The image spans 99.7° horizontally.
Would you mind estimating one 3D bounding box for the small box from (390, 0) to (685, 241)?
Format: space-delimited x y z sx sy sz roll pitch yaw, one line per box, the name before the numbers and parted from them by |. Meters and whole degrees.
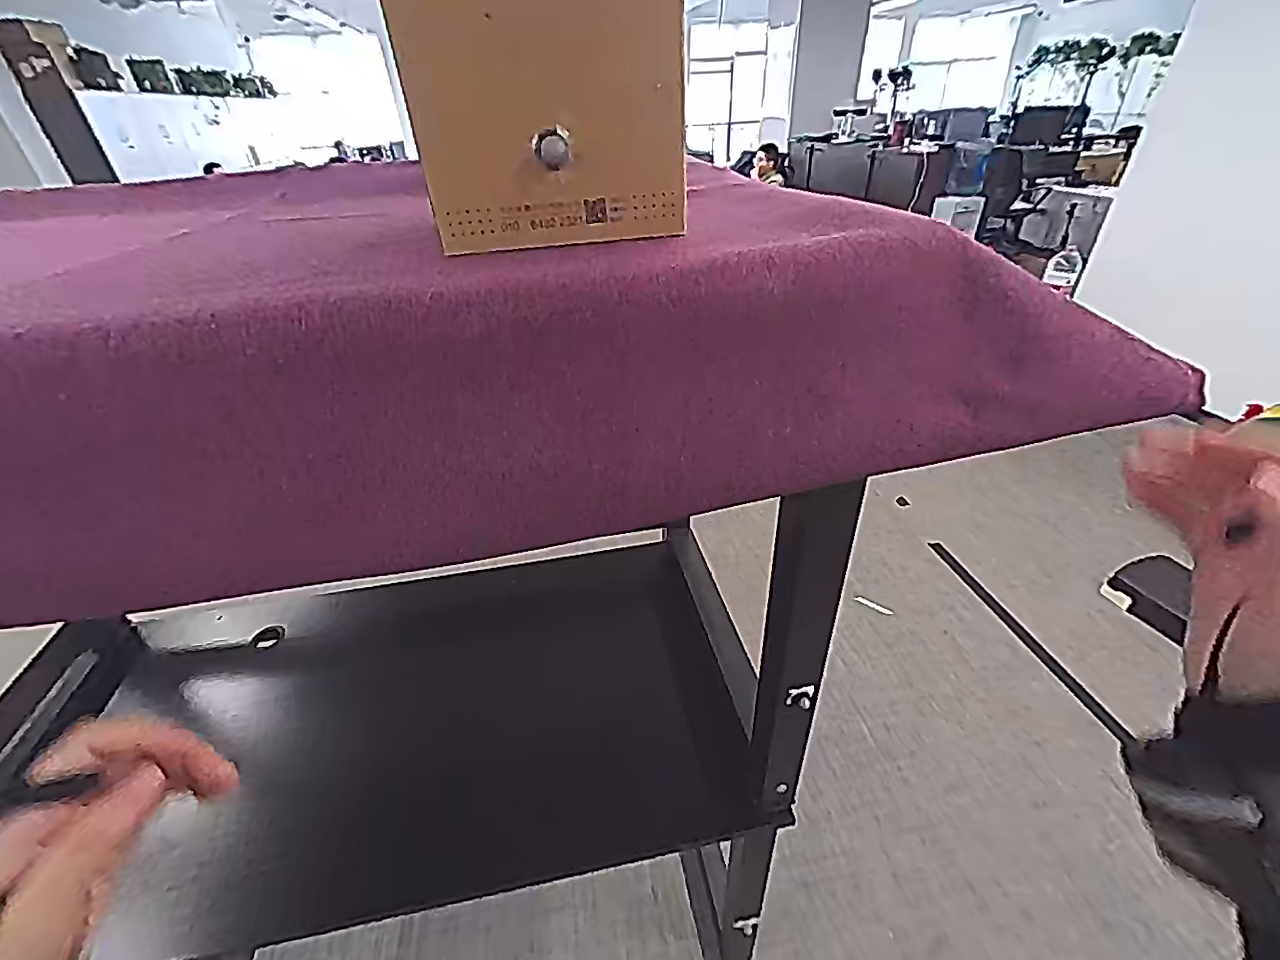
small box | -0.064 -0.274 0.384 0.168 0.176 0.179 -7 34 -4
